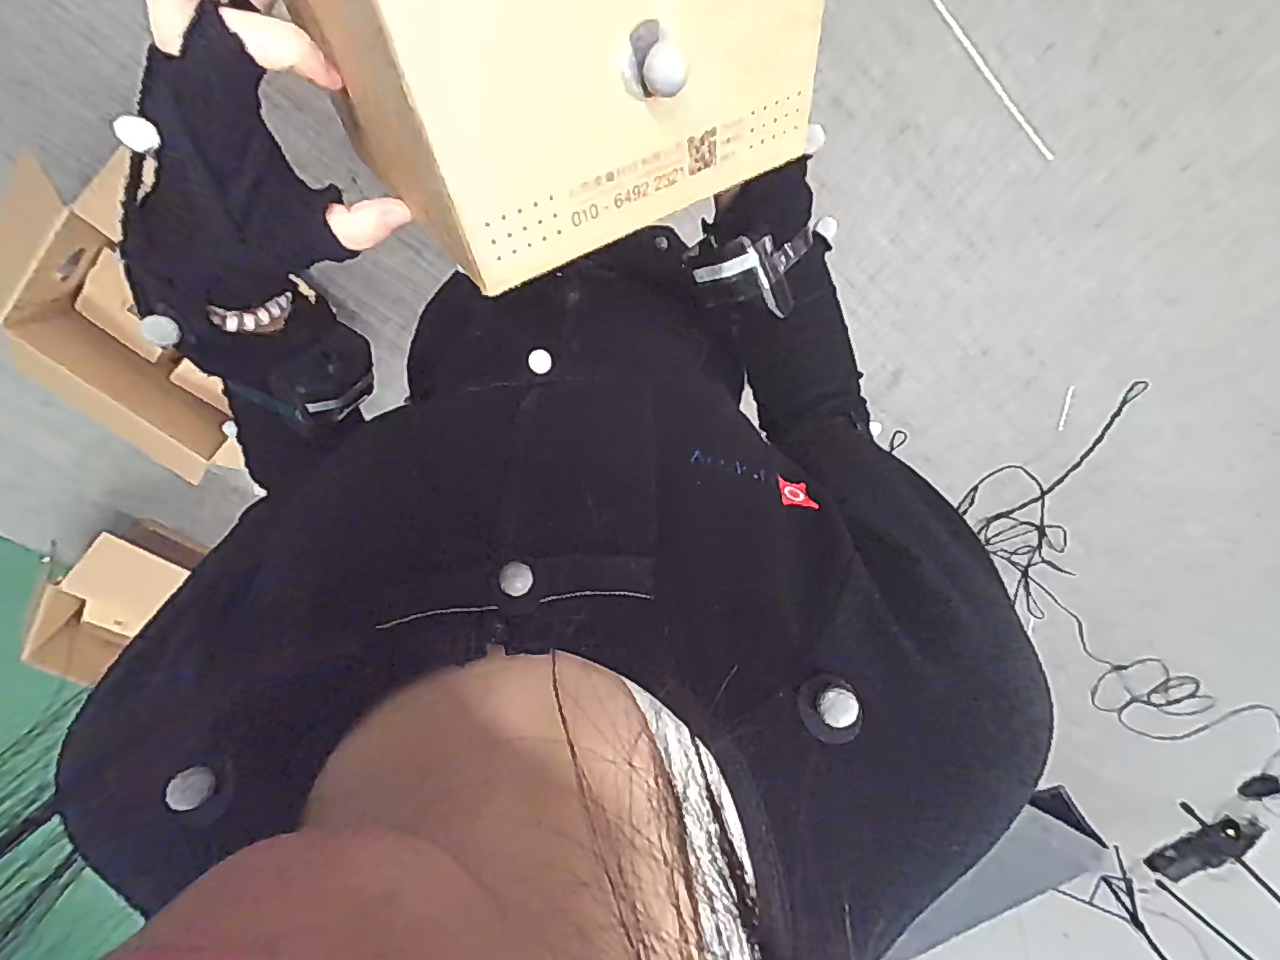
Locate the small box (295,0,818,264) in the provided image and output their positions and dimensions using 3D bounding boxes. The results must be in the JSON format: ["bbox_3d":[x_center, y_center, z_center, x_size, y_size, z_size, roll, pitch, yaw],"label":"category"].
[{"bbox_3d":[-0.046,-0.215,0.208,0.168,0.179,0.176,-32,147,-15],"label":"small box"}]
